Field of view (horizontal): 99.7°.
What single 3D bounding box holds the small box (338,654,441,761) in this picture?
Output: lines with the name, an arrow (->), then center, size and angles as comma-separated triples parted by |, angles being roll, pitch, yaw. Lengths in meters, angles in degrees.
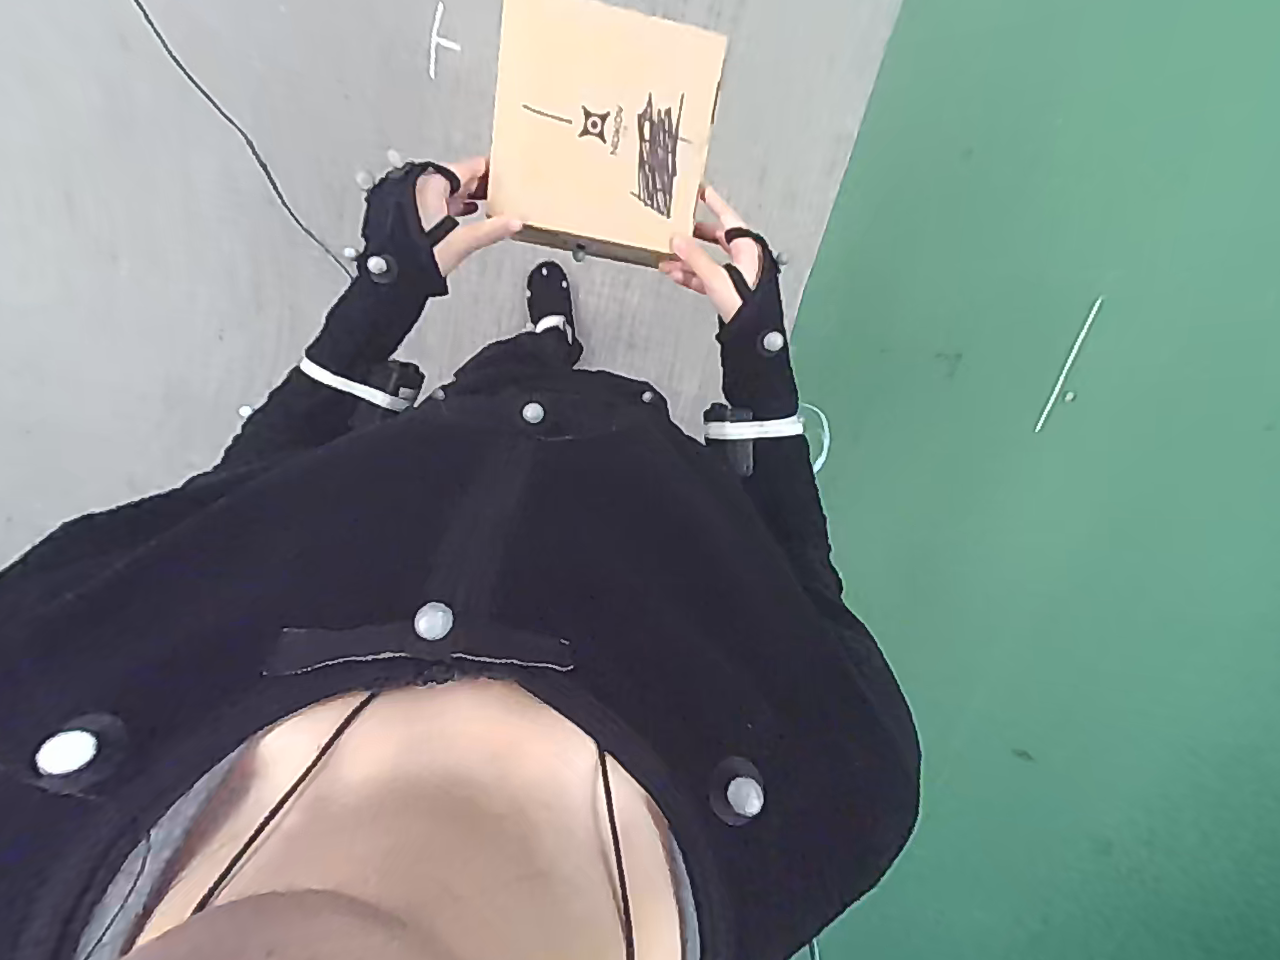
small box -> -0.616, 0.561, 1.349 | 0.179, 0.176, 0.168 | 15, 105, -6

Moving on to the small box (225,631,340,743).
small box -> -0.861, 0.496, 1.317 | 0.168, 0.176, 0.179 | 17, 105, -8
